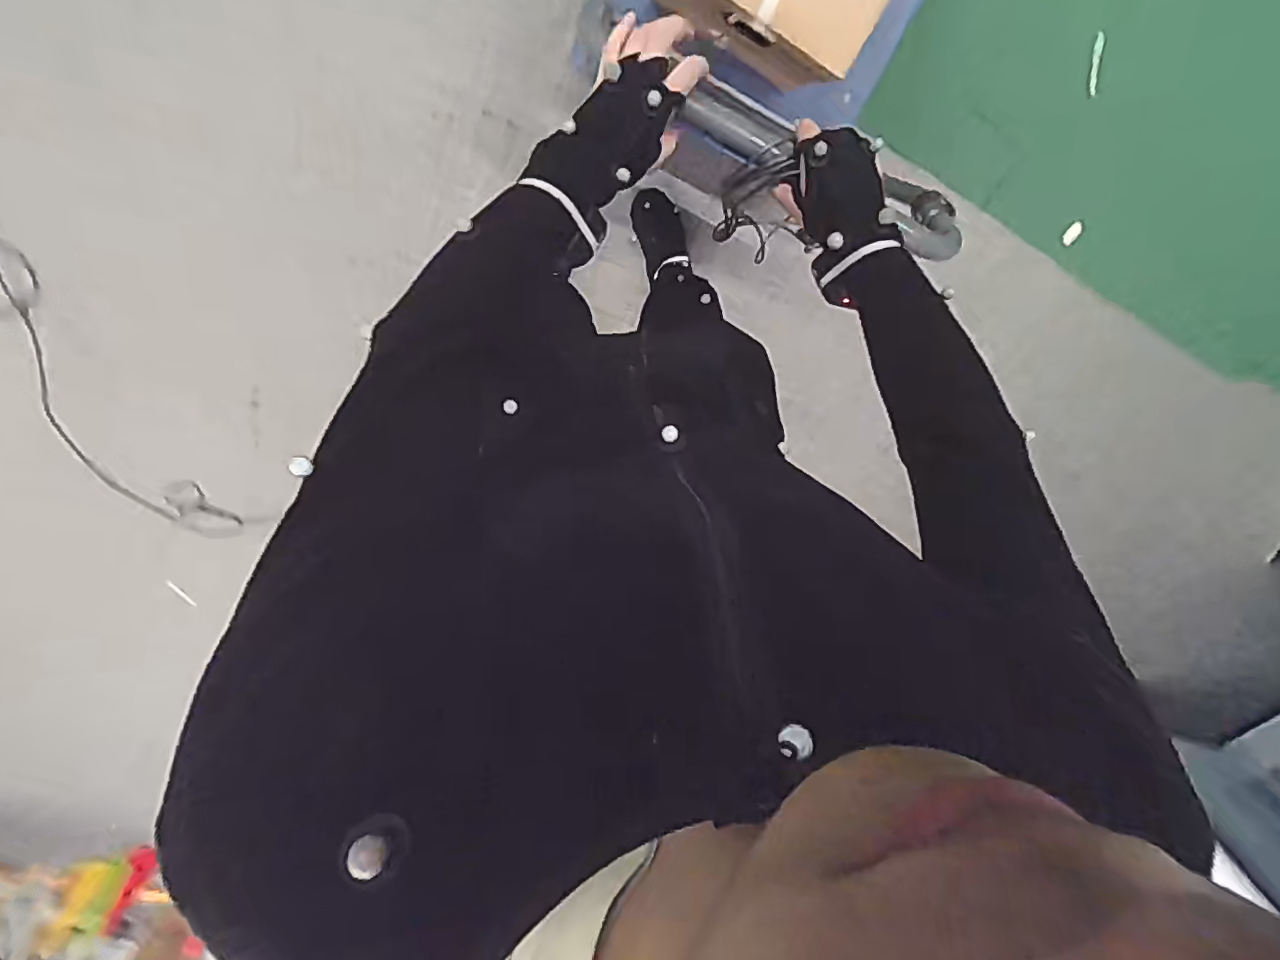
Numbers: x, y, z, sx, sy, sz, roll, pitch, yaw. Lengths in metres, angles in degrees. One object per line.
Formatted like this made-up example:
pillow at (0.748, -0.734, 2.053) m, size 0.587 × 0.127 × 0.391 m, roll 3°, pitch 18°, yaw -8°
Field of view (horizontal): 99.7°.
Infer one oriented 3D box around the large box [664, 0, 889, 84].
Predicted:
large box at (0.257, -0.900, 0.806) m, size 0.320 × 0.320 × 0.408 m, roll 22°, pitch 119°, yaw -18°
